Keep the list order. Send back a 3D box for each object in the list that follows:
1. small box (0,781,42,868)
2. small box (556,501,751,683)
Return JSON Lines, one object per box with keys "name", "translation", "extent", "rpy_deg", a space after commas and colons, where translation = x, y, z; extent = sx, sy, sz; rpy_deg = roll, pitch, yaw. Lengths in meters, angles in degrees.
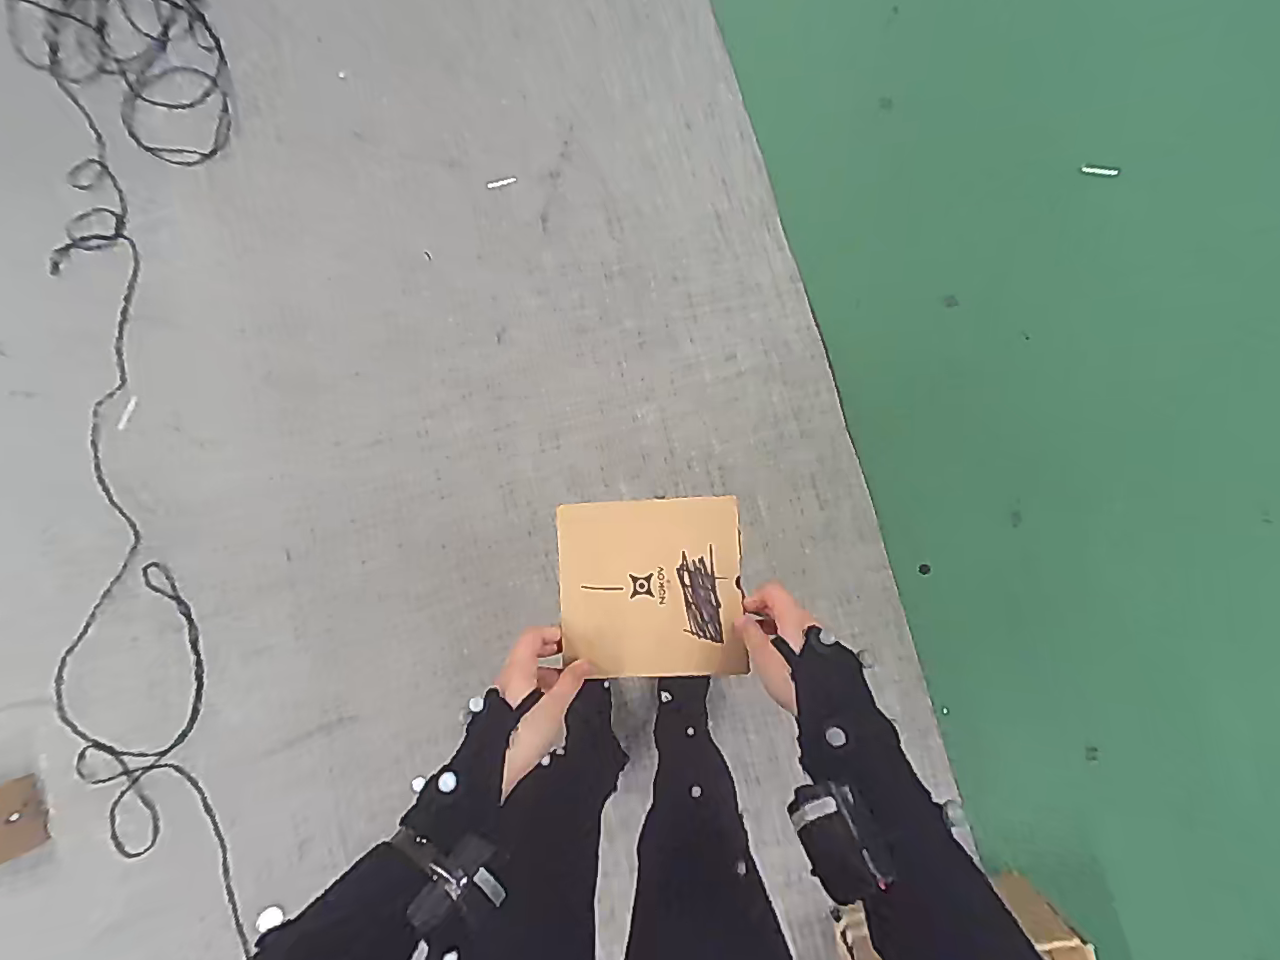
{"name": "small box", "translation": [-1.509, 0.809, 1.196], "extent": [0.179, 0.176, 0.168], "rpy_deg": [-24, 84, 2]}
{"name": "small box", "translation": [0.016, 0.107, 0.577], "extent": [0.179, 0.176, 0.168], "rpy_deg": [-3, 86, 5]}
